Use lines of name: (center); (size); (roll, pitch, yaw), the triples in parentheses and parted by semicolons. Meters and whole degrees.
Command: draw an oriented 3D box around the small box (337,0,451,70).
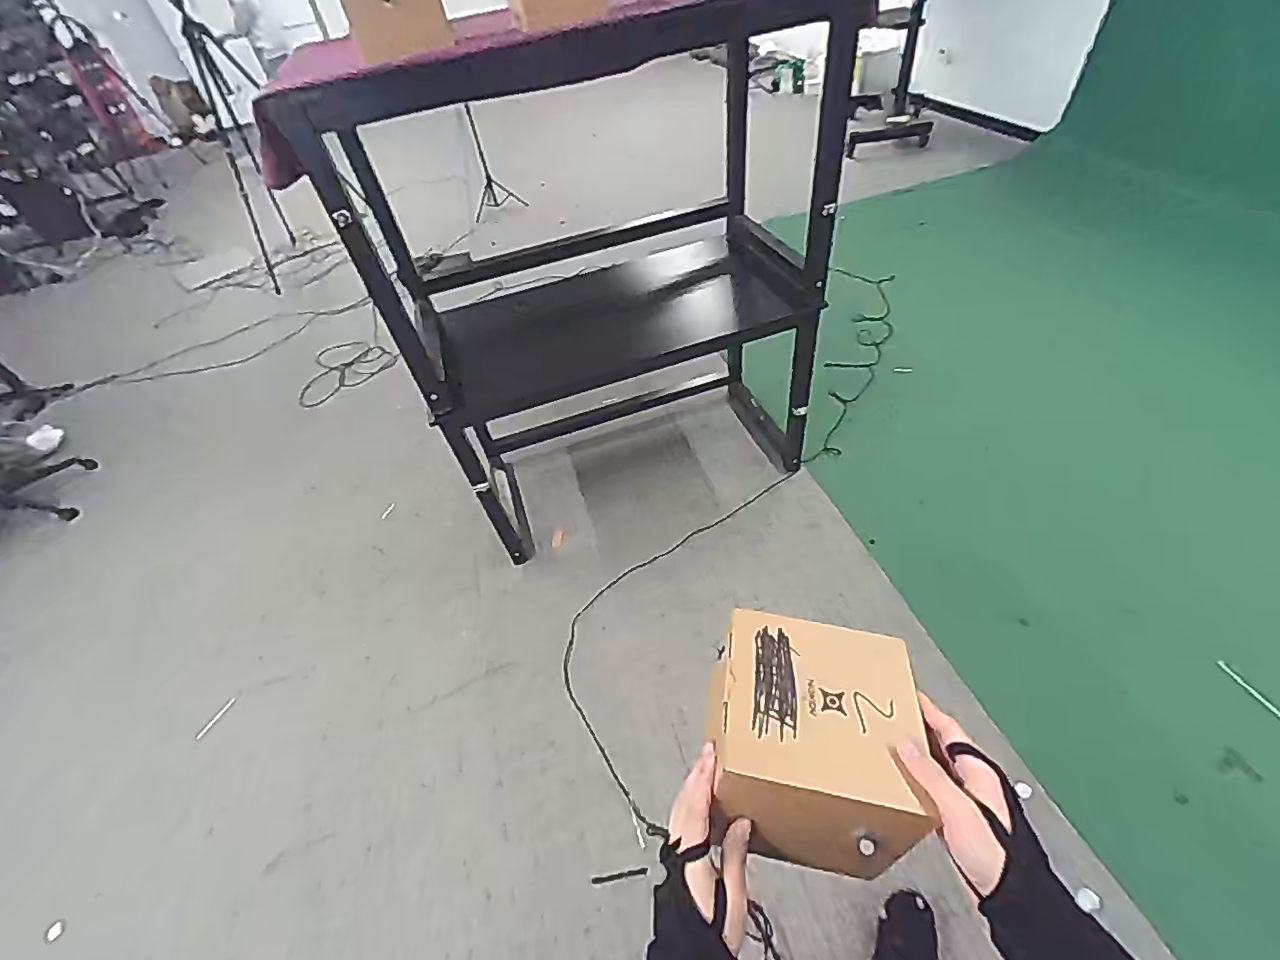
small box: (-0.468, -0.902, 1.015); (0.179, 0.176, 0.168); (-20, 47, -8)

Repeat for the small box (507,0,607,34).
small box: (-0.180, -1.002, 1.061); (0.179, 0.176, 0.168); (-18, 47, -8)

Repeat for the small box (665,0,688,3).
small box: (0.113, -1.093, 1.092); (0.179, 0.176, 0.168); (-15, 47, -4)
